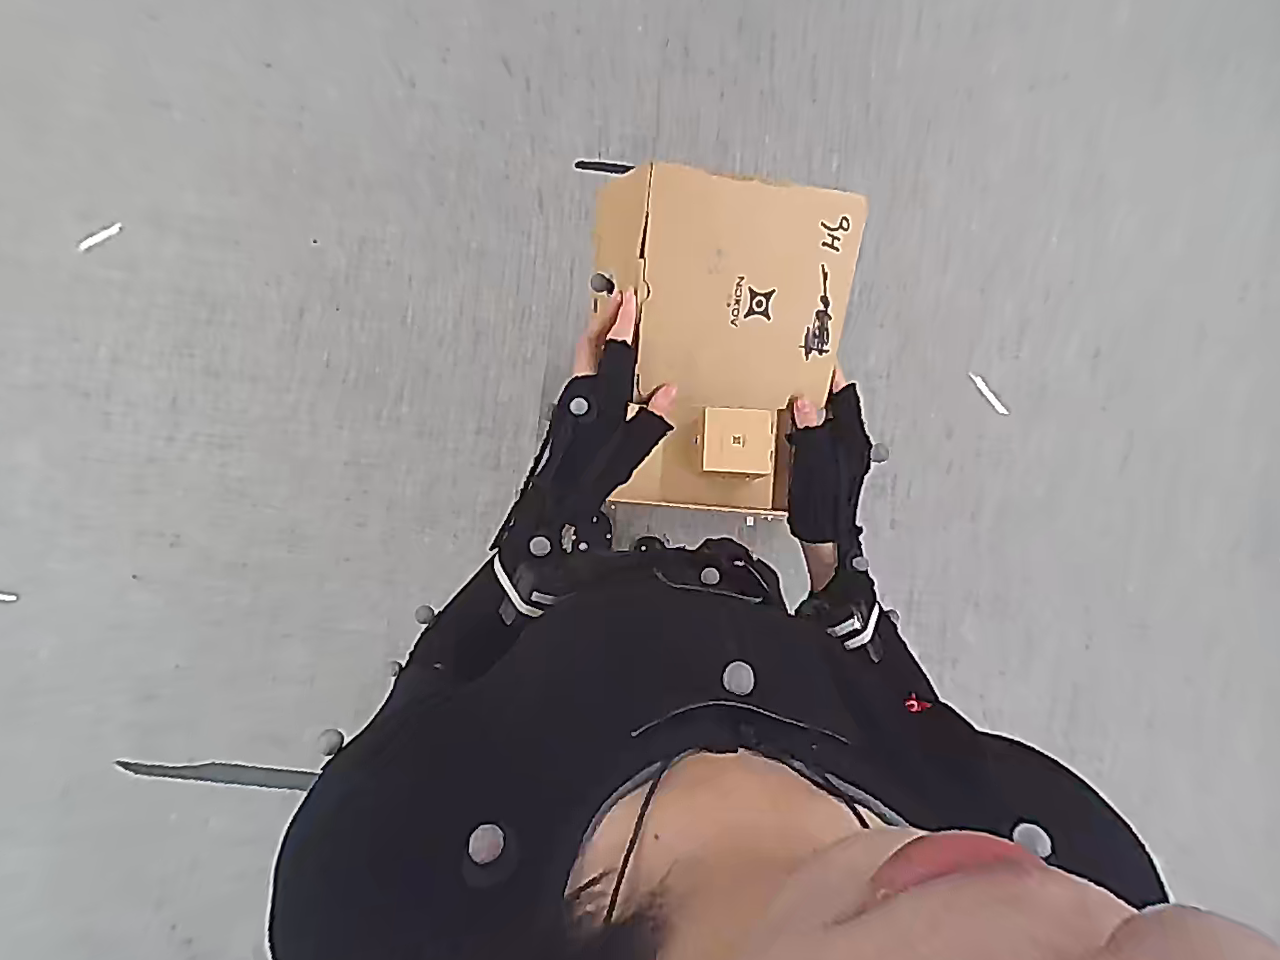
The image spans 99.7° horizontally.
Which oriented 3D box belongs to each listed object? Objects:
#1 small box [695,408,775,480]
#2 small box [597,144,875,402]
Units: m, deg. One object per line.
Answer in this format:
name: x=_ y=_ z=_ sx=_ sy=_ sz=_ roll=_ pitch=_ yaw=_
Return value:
small box: x=0.248 y=-0.091 z=1.440 sx=0.179 sy=0.176 sz=0.168 roll=3 pitch=85 yaw=-1
small box: x=0.063 y=-0.170 z=0.473 sx=0.179 sy=0.176 sz=0.168 roll=0 pitch=111 yaw=-16
